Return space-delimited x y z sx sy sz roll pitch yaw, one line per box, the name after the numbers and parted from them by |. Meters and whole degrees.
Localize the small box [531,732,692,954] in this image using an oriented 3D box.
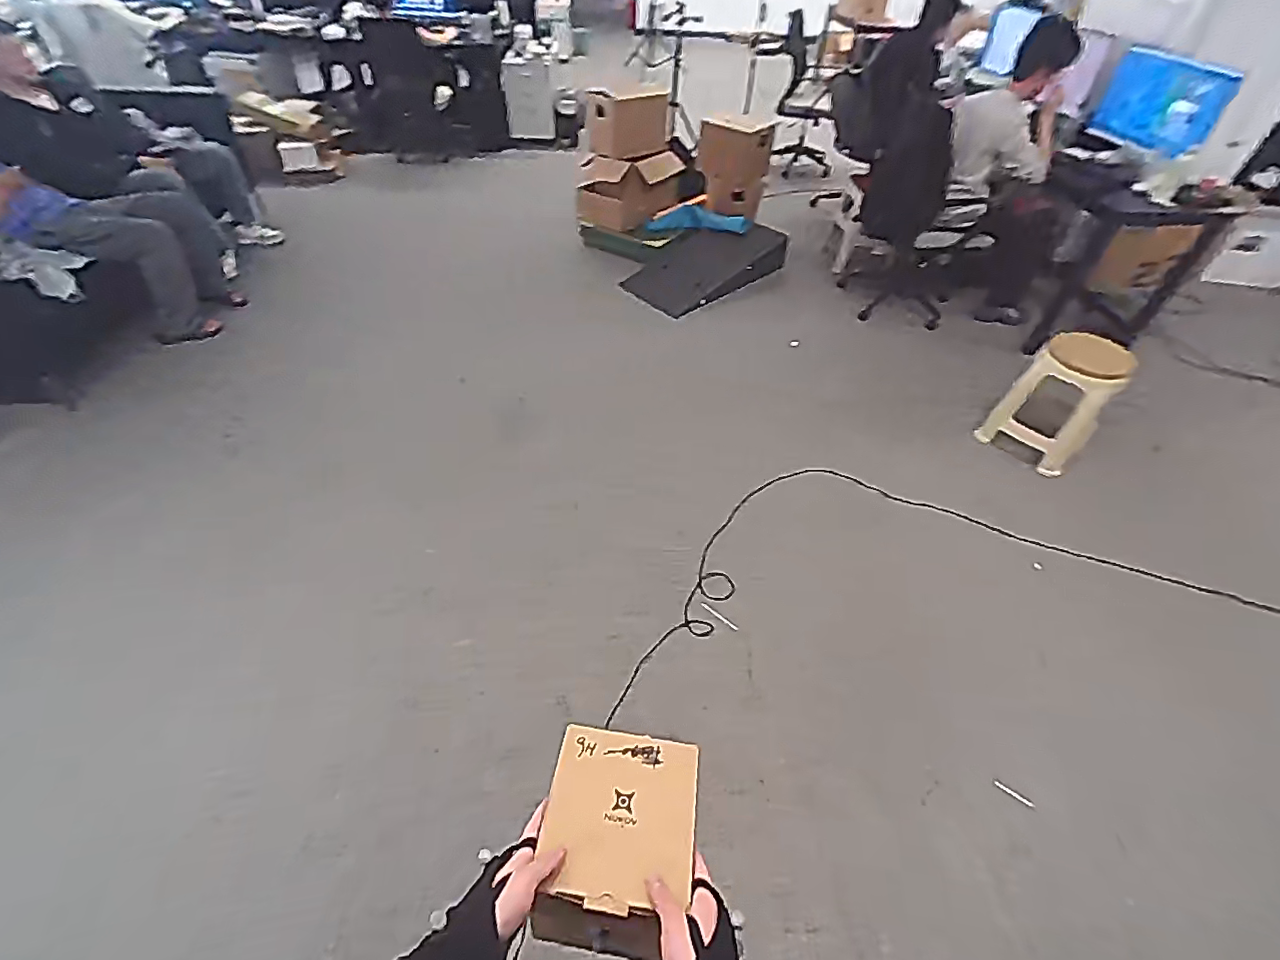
-0.027 0.440 0.657 0.168 0.176 0.179 6 37 1 | small box
